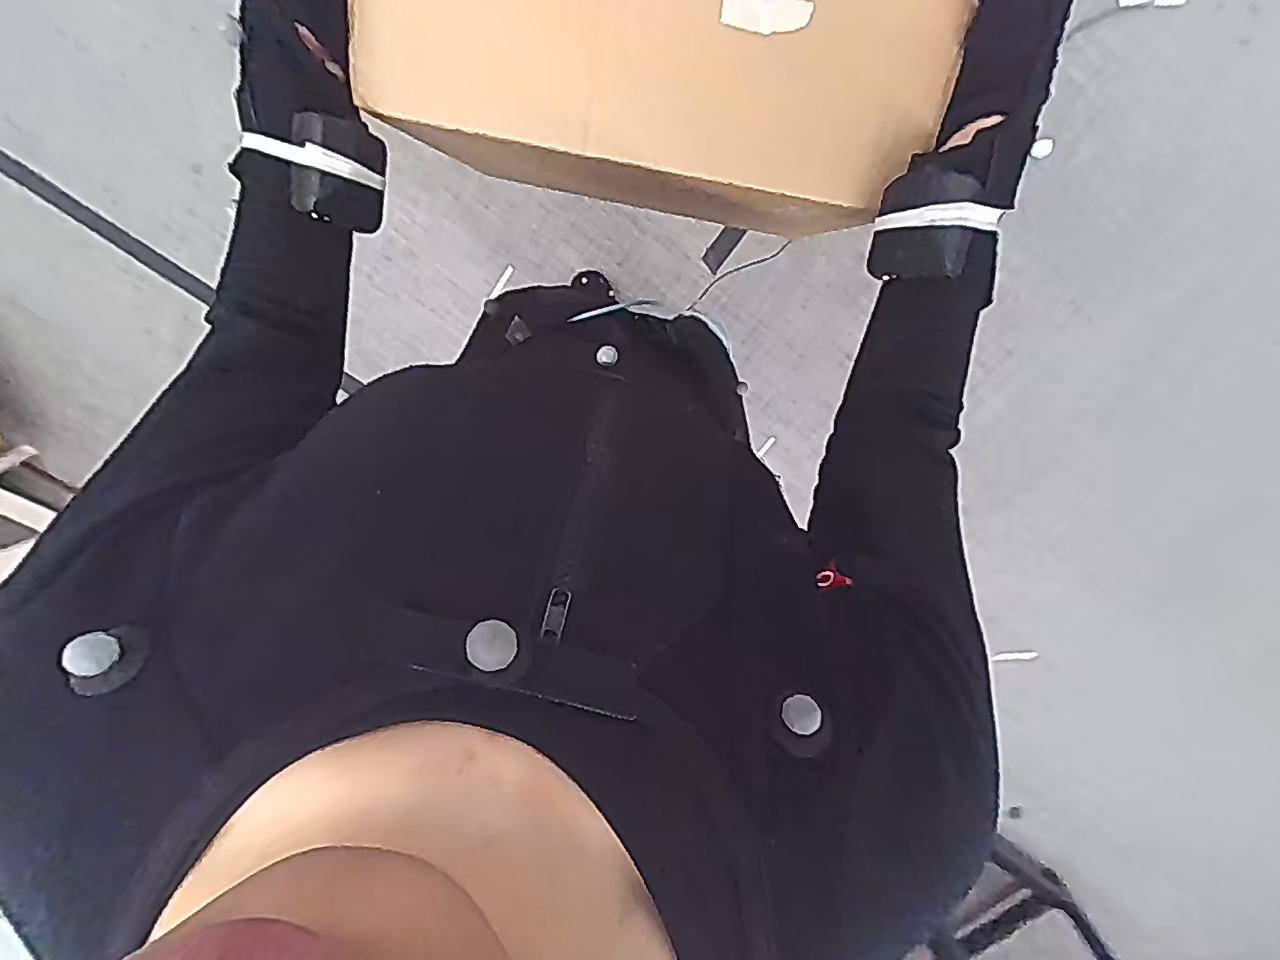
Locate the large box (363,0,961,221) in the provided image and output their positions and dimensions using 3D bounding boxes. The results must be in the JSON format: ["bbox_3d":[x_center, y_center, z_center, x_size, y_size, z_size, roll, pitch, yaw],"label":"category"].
[{"bbox_3d":[0.023,-0.434,0.476,0.408,0.320,0.320,9,113,-3],"label":"large box"}]
